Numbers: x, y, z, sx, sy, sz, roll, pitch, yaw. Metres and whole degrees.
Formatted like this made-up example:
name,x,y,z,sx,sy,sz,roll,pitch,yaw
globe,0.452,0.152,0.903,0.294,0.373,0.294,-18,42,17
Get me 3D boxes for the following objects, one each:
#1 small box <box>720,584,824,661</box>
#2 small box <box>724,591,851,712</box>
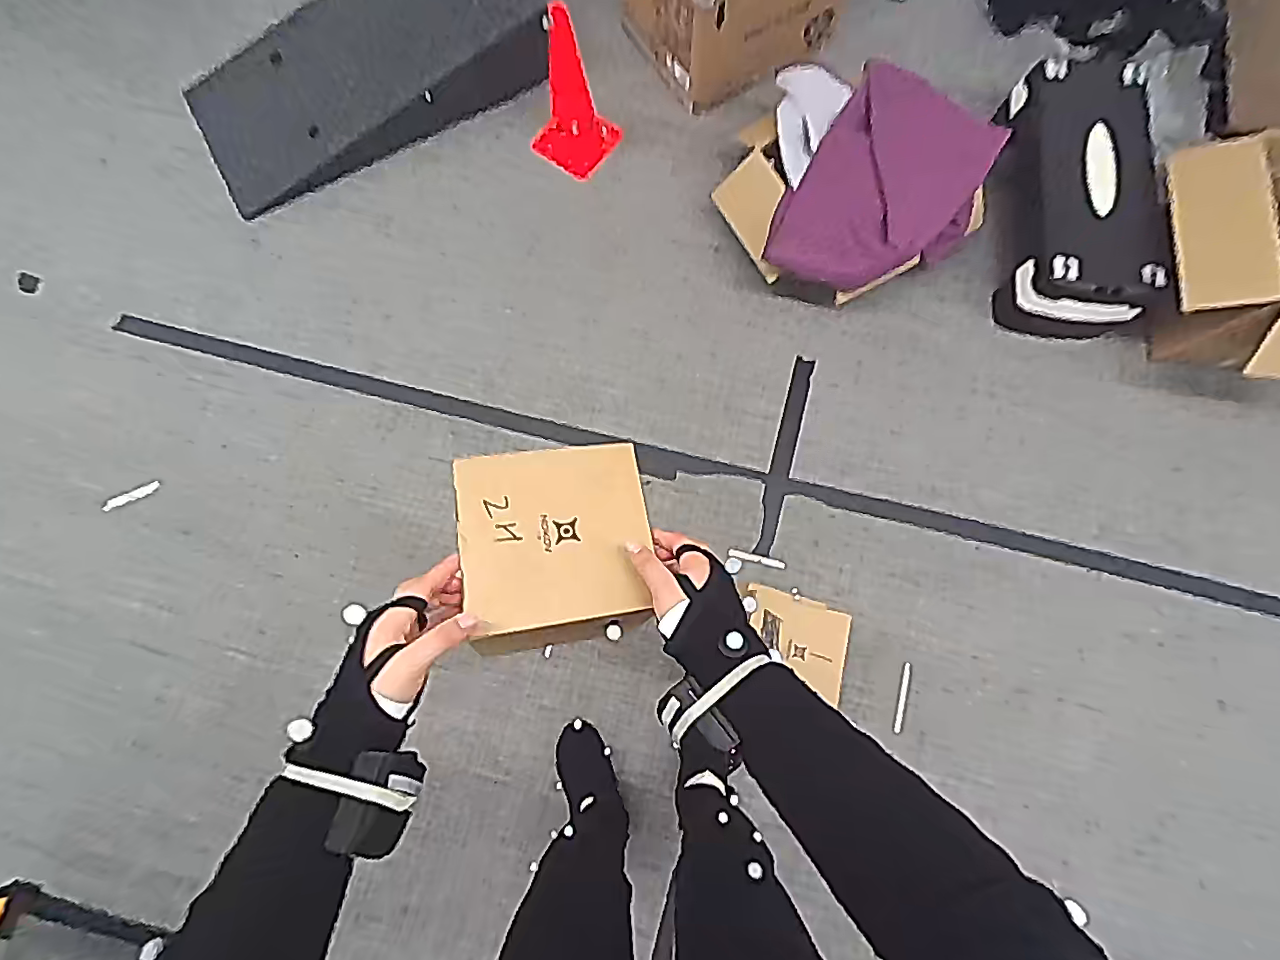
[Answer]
name,x,y,z,sx,sy,sz,roll,pitch,yaw
small box,0.277,0.332,1.170,0.168,0.176,0.179,16,79,3
small box,0.264,0.310,1.005,0.179,0.176,0.168,14,78,2
